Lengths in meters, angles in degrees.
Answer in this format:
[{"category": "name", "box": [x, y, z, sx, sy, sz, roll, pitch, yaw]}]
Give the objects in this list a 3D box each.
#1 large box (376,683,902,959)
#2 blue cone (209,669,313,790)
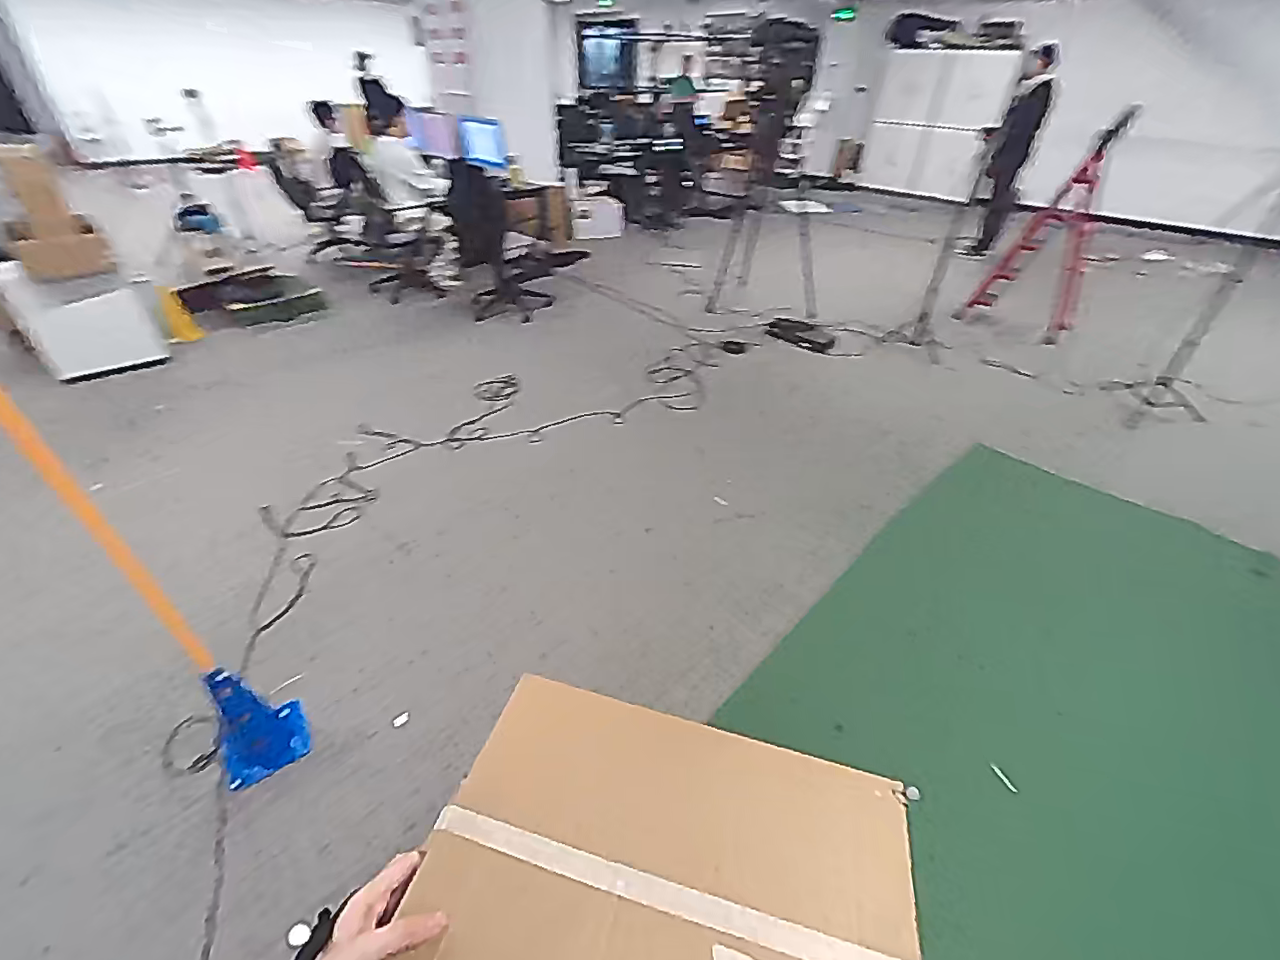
[{"category": "large box", "box": [0.004, 0.467, 0.541, 0.408, 0.320, 0.320, 12, 37, 10]}, {"category": "blue cone", "box": [-1.039, 0.617, 1.429, 0.193, 0.380, 0.192, -23, 44, -29]}]
